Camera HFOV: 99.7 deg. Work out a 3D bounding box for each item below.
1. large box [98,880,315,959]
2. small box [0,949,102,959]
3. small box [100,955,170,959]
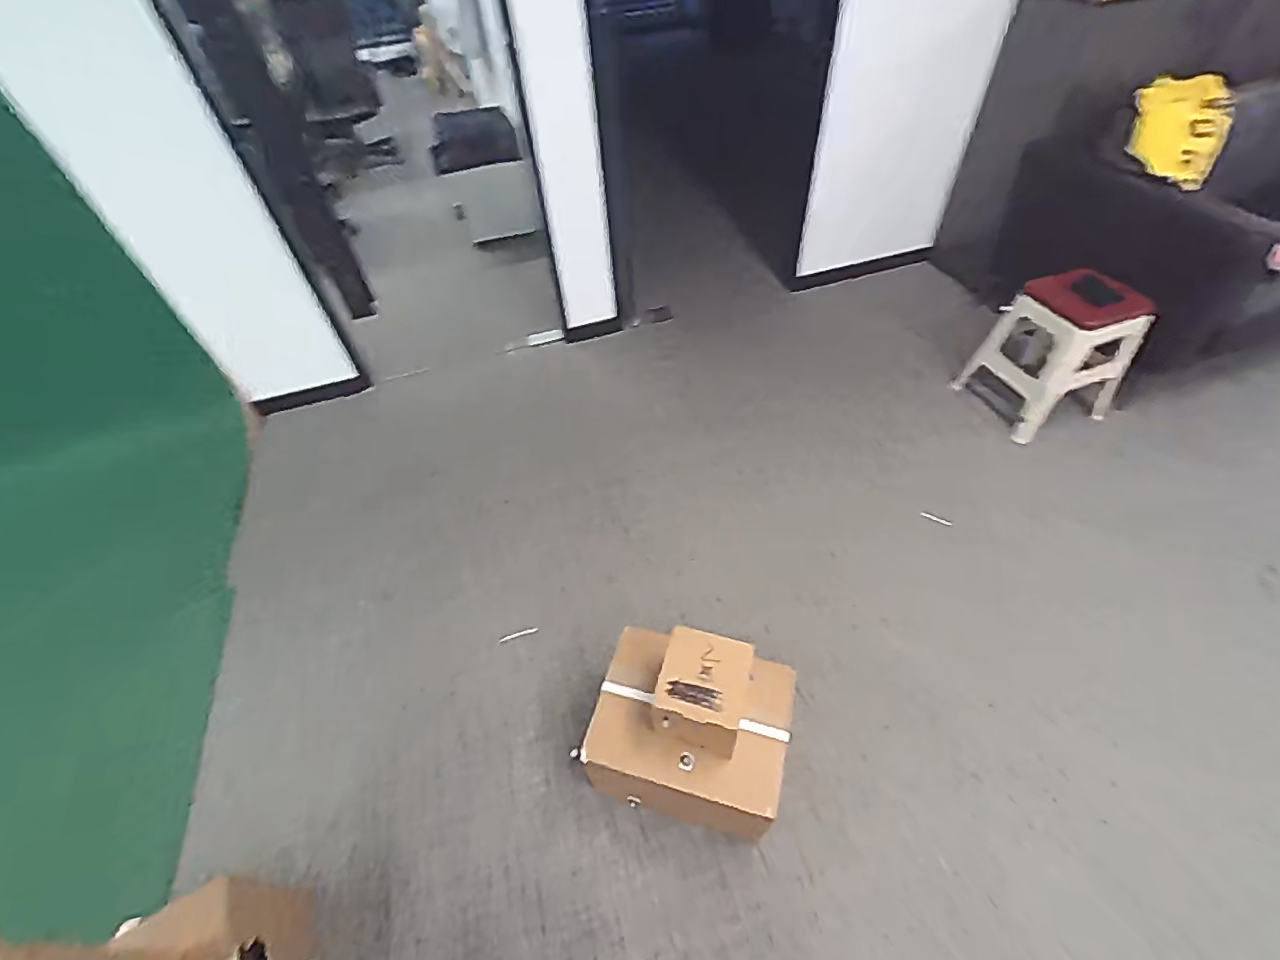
[{"bbox_3d":[-0.855,1.018,0.971,0.408,0.320,0.320,-27,50,-17],"label":"large box"},{"bbox_3d":[-0.834,0.733,0.676,0.179,0.176,0.168,-26,52,-18],"label":"small box"},{"bbox_3d":[-0.827,0.846,0.795,0.168,0.176,0.179,-25,51,-18],"label":"small box"}]
